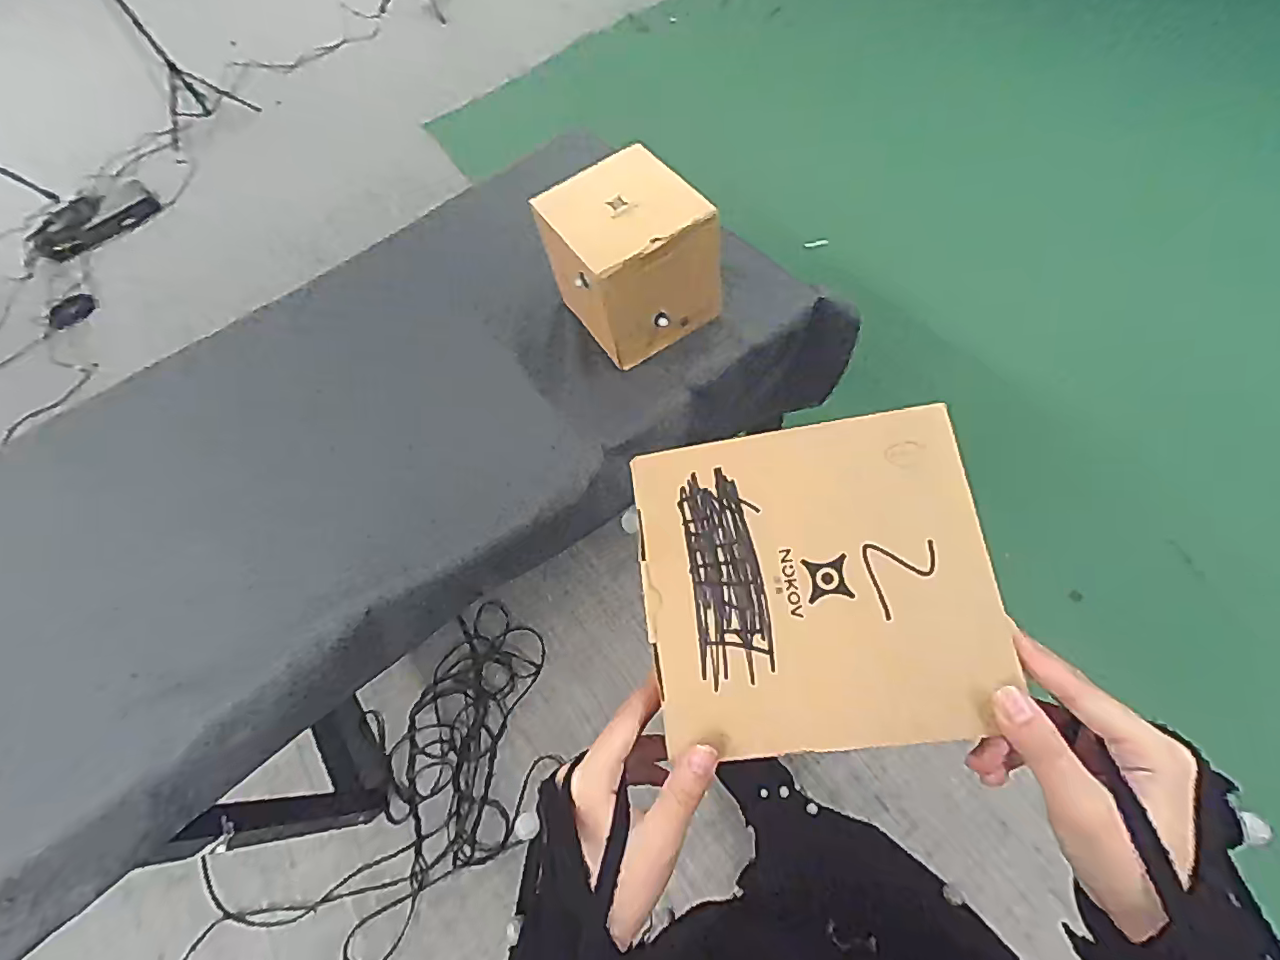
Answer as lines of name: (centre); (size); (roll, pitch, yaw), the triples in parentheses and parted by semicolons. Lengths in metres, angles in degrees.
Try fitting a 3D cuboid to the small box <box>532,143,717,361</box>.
small box: (-0.014, -0.294, 0.714); (0.168, 0.176, 0.179); (-33, 63, -8)
